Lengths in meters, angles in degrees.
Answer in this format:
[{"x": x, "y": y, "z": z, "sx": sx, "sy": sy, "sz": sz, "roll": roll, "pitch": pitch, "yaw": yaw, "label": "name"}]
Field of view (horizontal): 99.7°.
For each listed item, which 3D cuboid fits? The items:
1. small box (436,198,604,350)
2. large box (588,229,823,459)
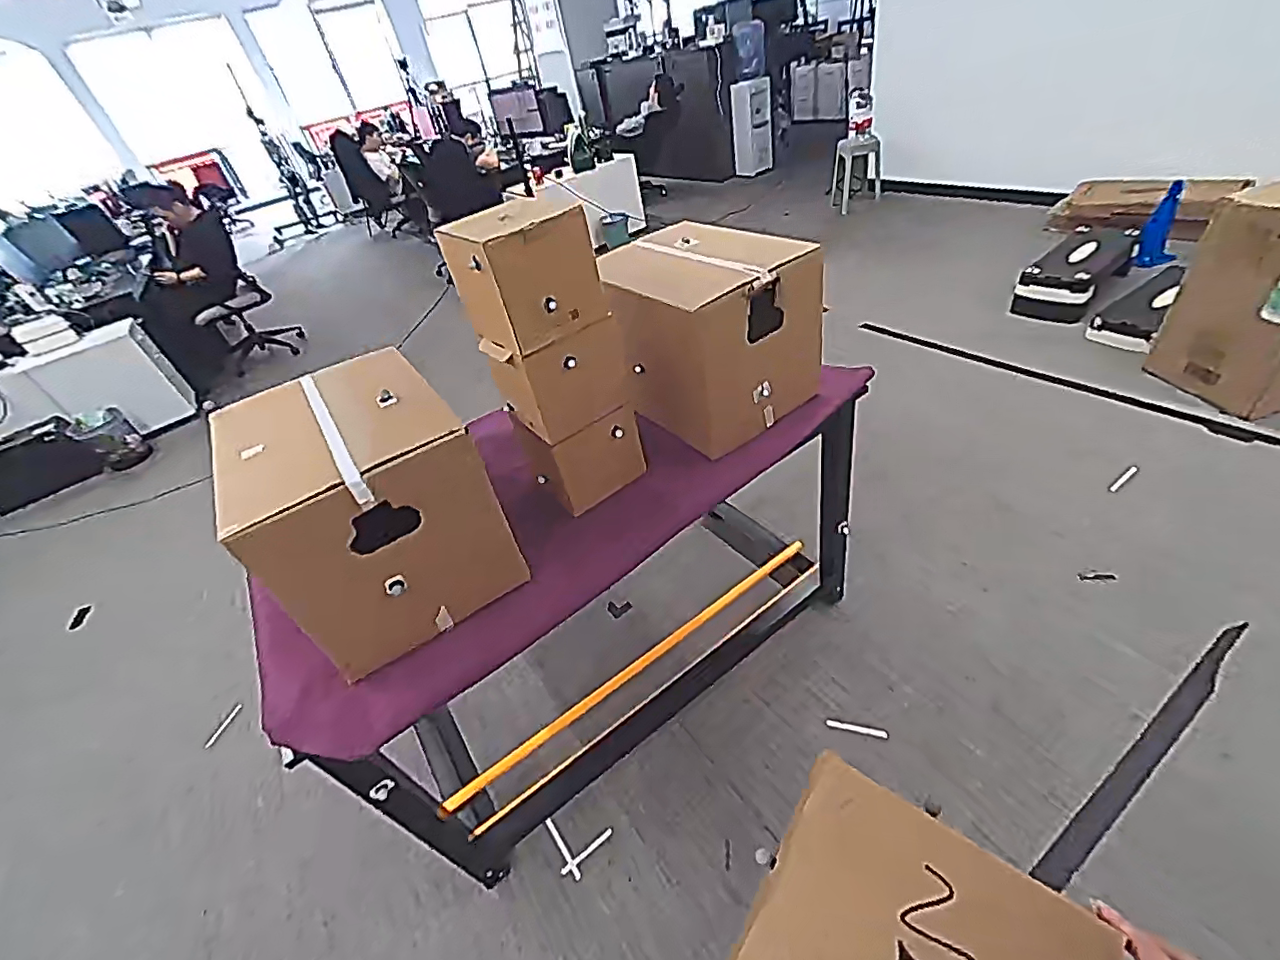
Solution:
[{"x": -0.179, "y": -0.320, "z": 0.836, "sx": 0.168, "sy": 0.176, "sz": 0.179, "roll": -34, "pitch": 44, "yaw": -24, "label": "small box"}, {"x": 0.126, "y": -0.302, "z": 1.137, "sx": 0.320, "sy": 0.320, "sz": 0.408, "roll": -31, "pitch": 41, "yaw": -21, "label": "large box"}]
